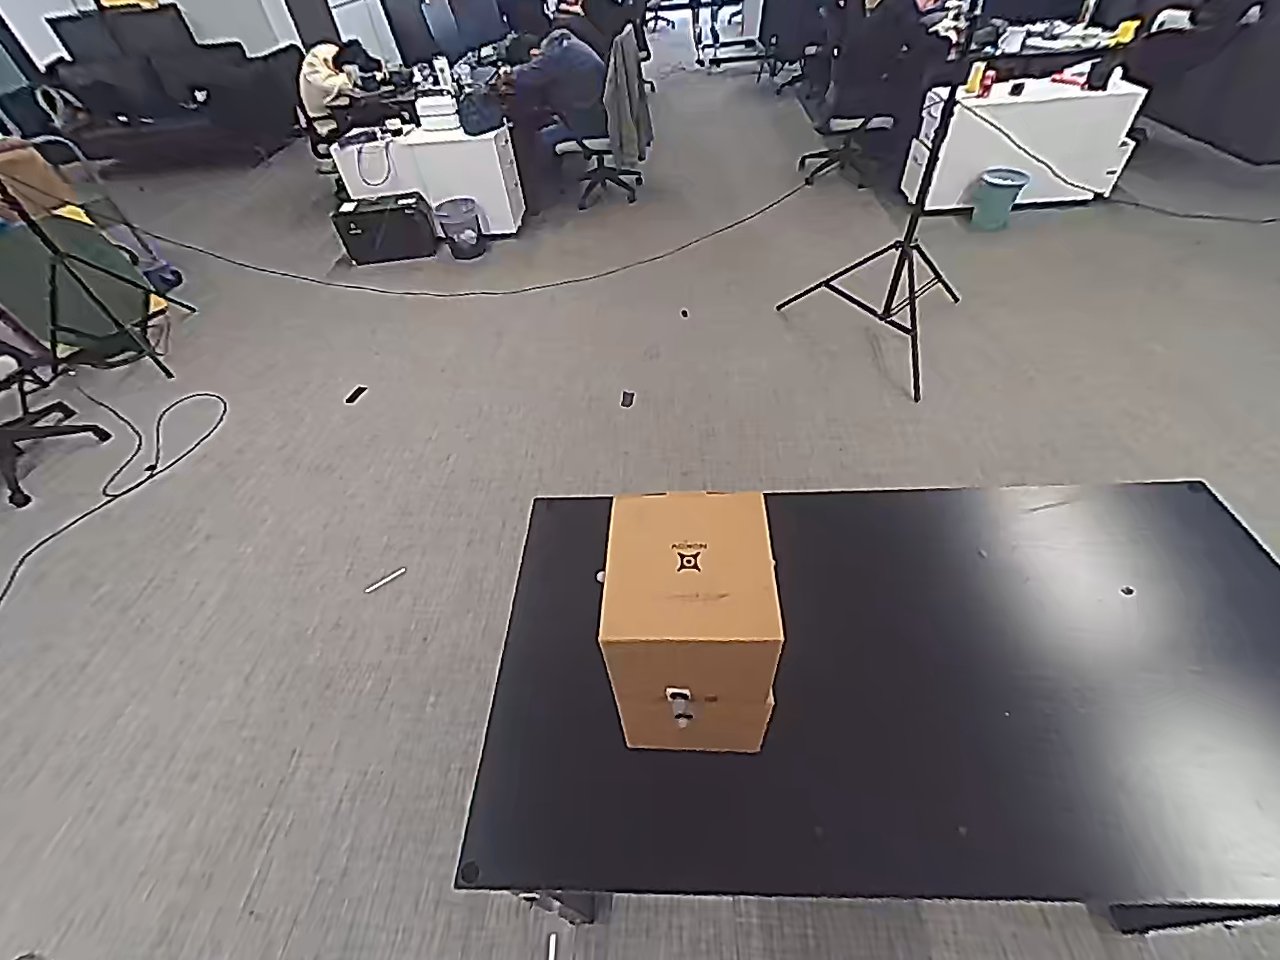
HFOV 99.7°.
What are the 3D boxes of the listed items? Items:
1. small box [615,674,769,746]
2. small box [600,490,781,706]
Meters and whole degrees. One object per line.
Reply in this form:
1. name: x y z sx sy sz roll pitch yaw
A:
1. small box: 0.068 0.240 0.718 0.179 0.176 0.168 0 47 4
2. small box: 0.054 0.130 0.599 0.168 0.176 0.179 -2 48 5
